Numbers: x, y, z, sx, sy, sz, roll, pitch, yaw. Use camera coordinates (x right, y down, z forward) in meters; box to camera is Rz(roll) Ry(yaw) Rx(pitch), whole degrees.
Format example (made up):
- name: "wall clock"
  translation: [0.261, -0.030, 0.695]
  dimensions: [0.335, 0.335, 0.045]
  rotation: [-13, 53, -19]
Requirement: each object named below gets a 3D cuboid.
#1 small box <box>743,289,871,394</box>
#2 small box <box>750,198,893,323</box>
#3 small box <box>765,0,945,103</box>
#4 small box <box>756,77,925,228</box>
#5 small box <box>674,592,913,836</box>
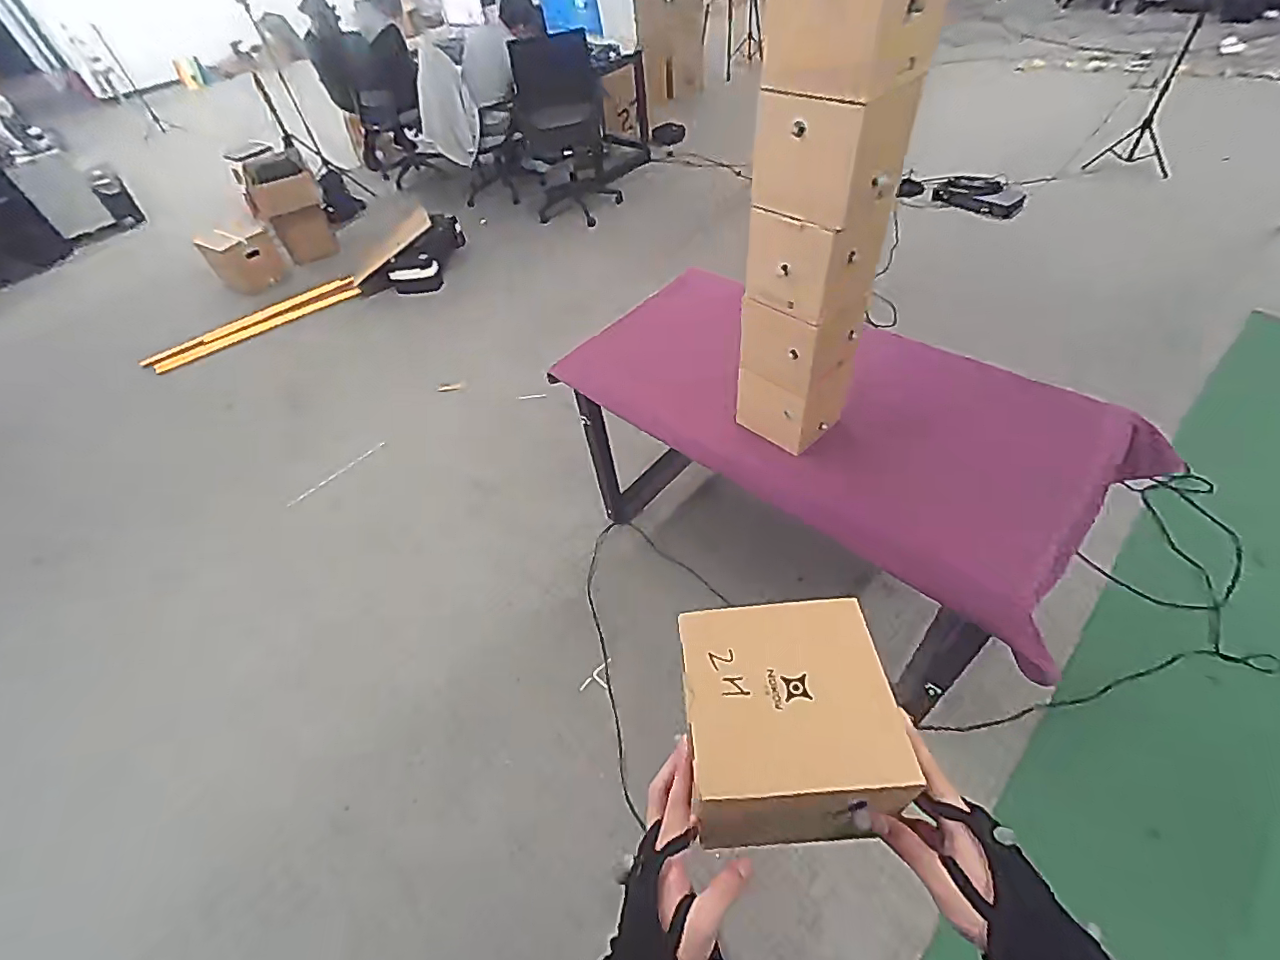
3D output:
- name: "small box"
  translation: [0.325, -0.297, 1.083]
  dimensions: [0.168, 0.176, 0.179]
  rotation: [-37, 54, -23]
- name: "small box"
  translation: [0.313, -0.408, 0.964]
  dimensions: [0.179, 0.176, 0.168]
  rotation: [-37, 55, -23]
- name: "small box"
  translation: [0.288, -0.623, 0.719]
  dimensions: [0.168, 0.176, 0.179]
  rotation: [-38, 54, -24]
- name: "small box"
  translation: [0.298, -0.517, 0.842]
  dimensions: [0.168, 0.176, 0.179]
  rotation: [-39, 56, -24]
- name: "small box"
  translation: [0.128, 0.228, 0.524]
  dimensions: [0.179, 0.176, 0.168]
  rotation: [-6, 44, 3]
